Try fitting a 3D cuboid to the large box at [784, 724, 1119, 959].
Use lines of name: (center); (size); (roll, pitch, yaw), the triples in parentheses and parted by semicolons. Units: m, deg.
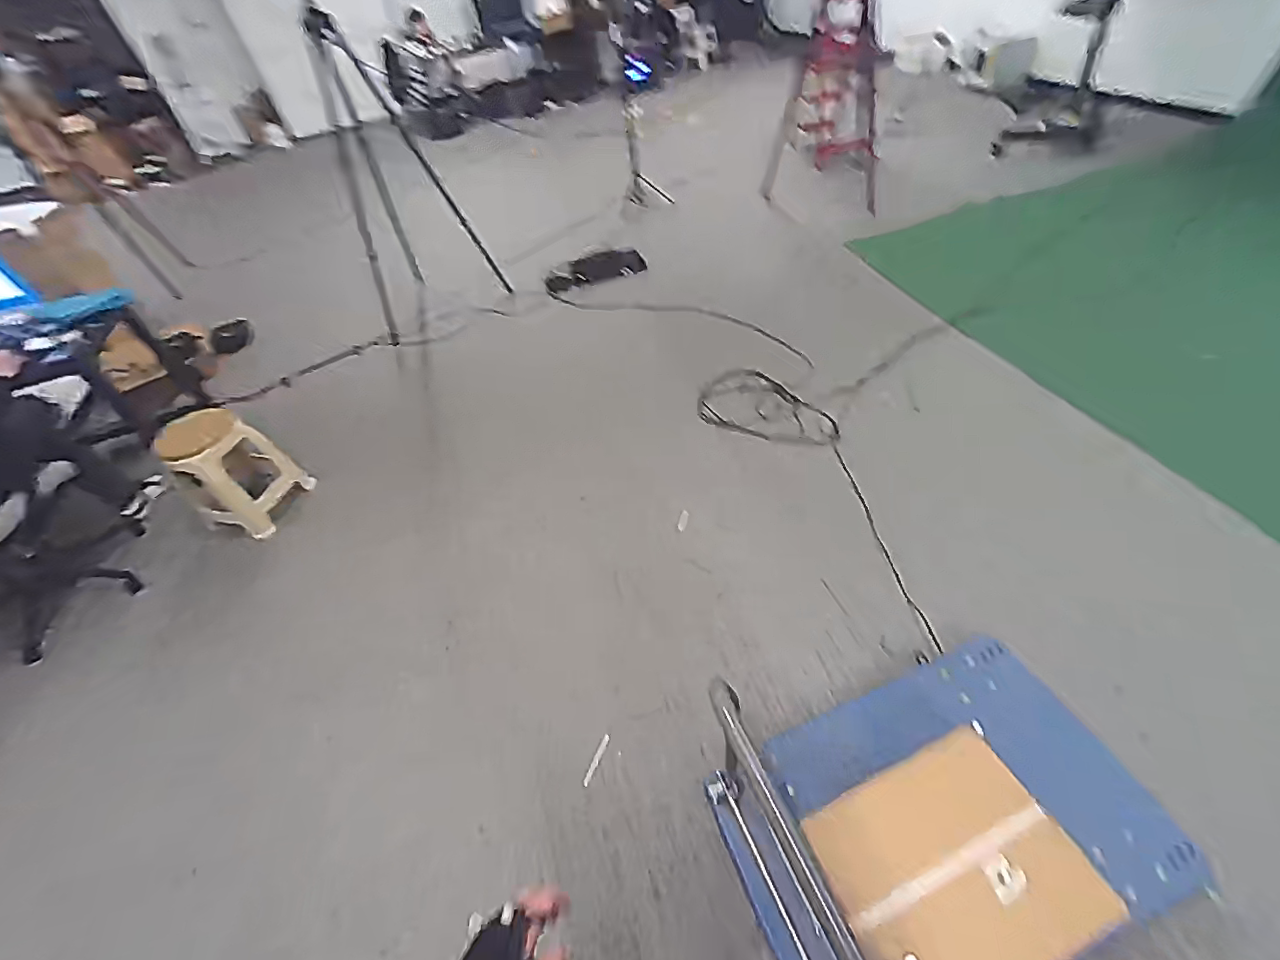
large box: (0.529, 0.742, 1.008); (0.408, 0.320, 0.320); (-22, 48, -11)
